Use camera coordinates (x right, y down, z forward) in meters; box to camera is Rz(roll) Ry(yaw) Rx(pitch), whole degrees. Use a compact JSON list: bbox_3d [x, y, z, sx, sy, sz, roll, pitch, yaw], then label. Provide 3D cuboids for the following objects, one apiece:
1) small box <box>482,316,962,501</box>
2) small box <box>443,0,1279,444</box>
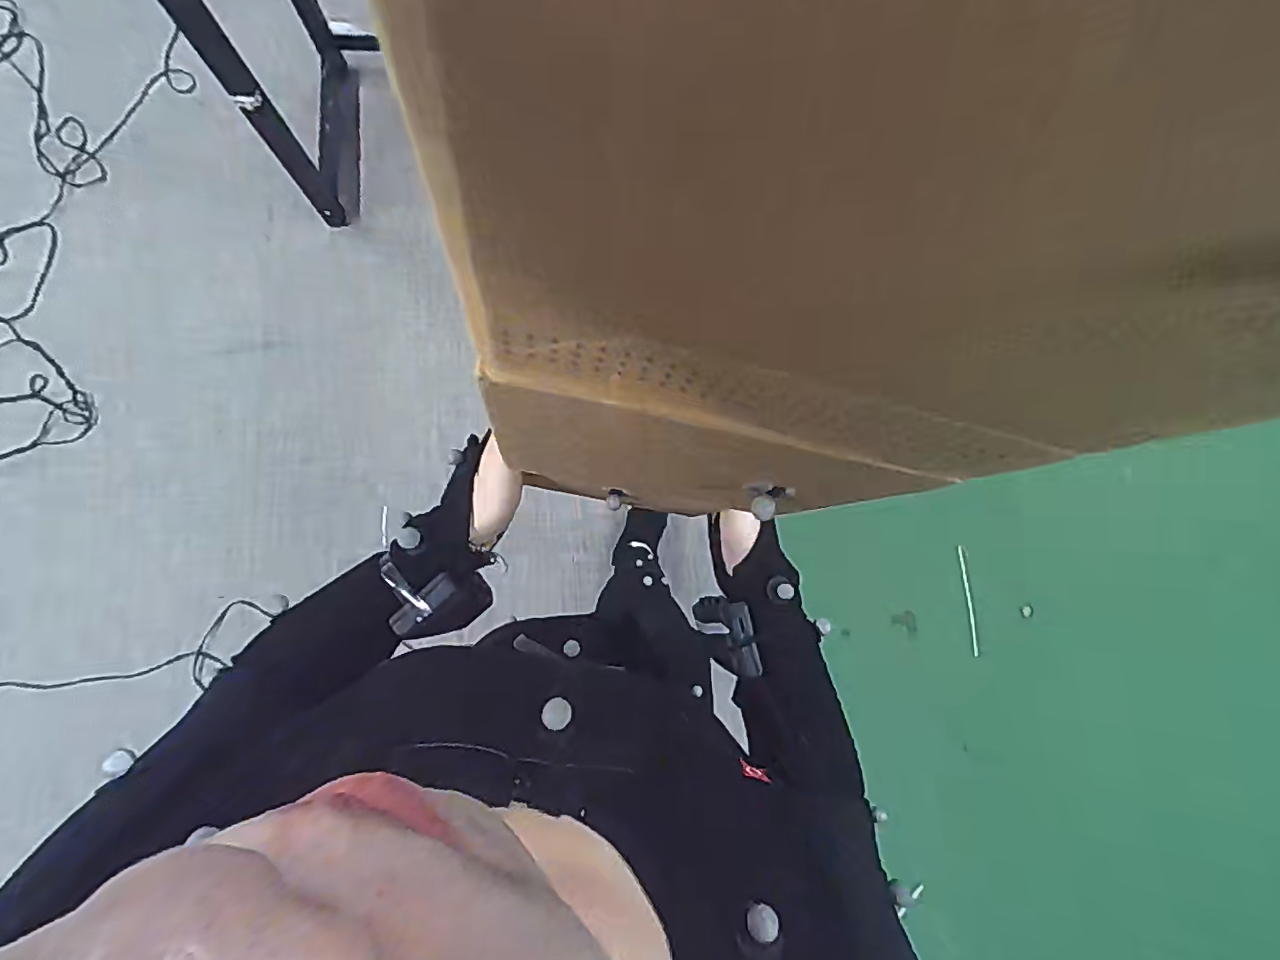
[{"bbox_3d":[0.030,-0.087,0.275,0.179,0.176,0.168,10,79,-9],"label":"small box"},{"bbox_3d":[0.061,-0.115,0.118,0.179,0.176,0.168,12,79,-10],"label":"small box"}]
